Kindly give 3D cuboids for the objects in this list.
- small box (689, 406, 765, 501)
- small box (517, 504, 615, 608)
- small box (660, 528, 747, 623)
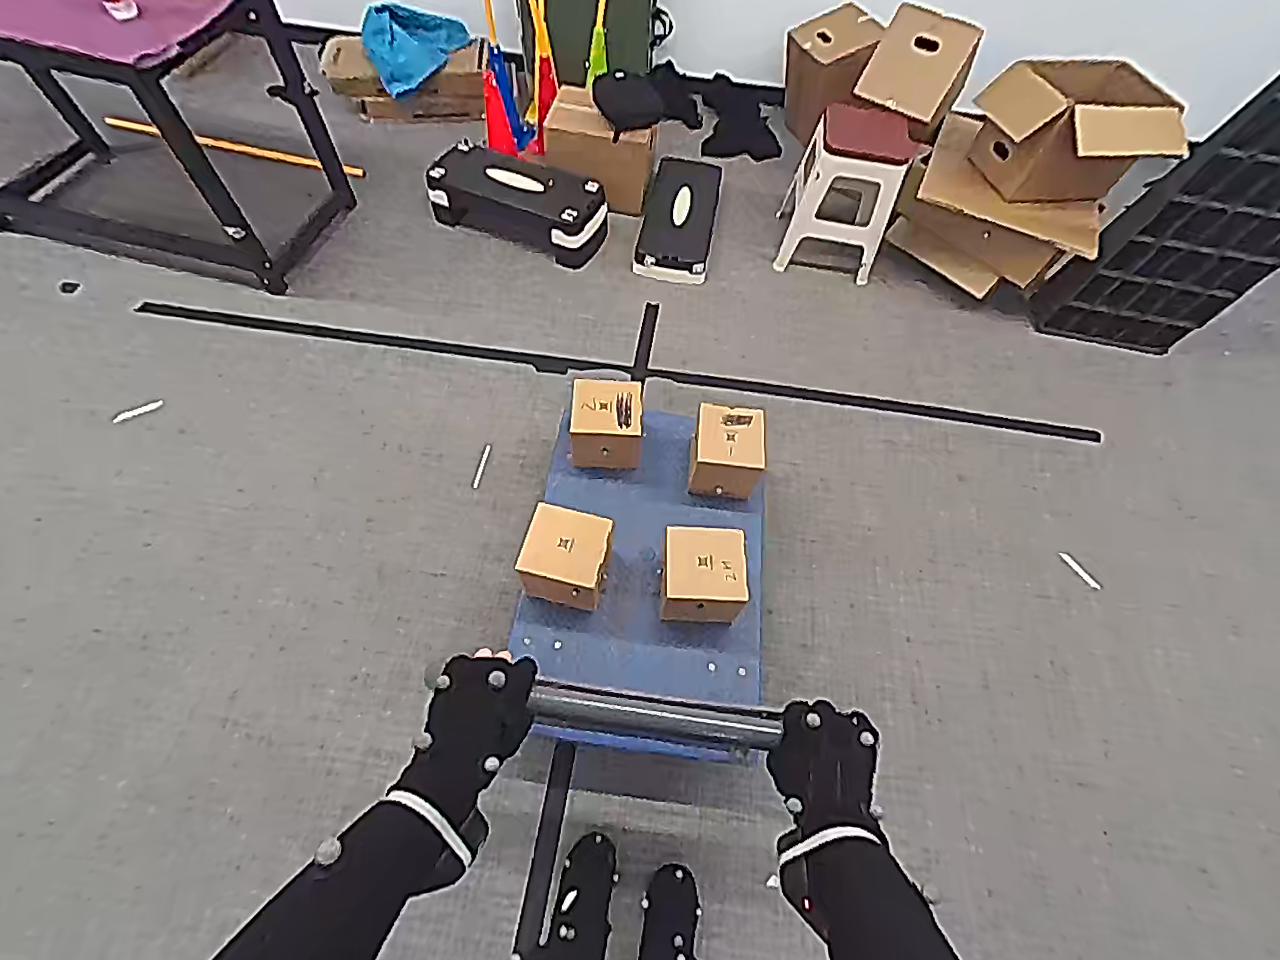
[{"bbox_3d":[0.224,-0.066,1.411,0.168,0.176,0.179,7,61,0],"label":"small box"},{"bbox_3d":[-0.165,0.179,1.244,0.179,0.176,0.168,14,60,2],"label":"small box"},{"bbox_3d":[0.139,0.223,1.241,0.179,0.176,0.168,4,61,-2],"label":"small box"}]
